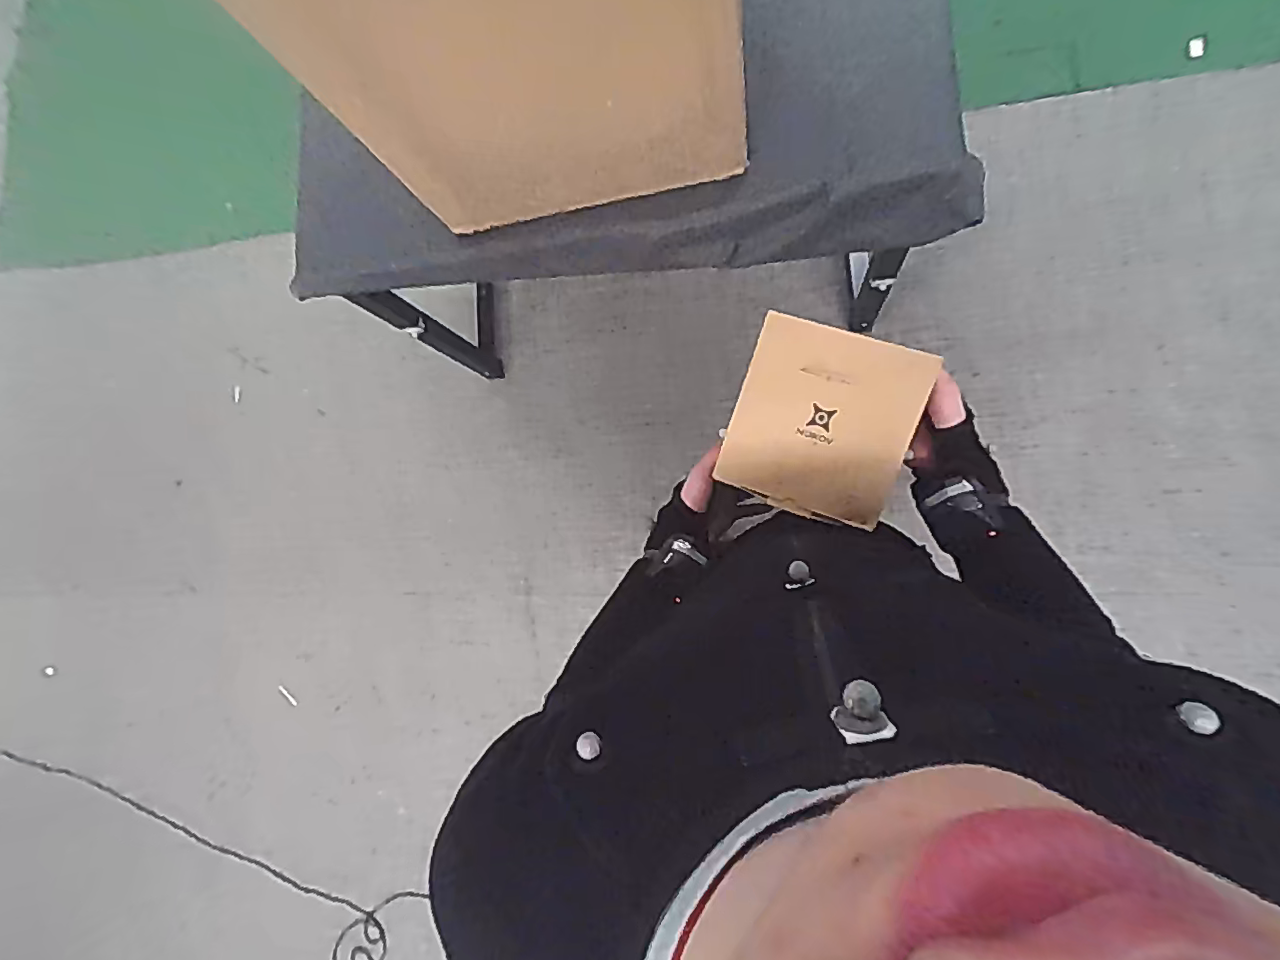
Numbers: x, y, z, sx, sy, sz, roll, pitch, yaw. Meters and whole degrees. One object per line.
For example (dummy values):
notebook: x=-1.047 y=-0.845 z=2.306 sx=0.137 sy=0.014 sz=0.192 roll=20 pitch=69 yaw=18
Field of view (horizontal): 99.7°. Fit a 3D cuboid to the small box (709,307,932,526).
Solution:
small box: x=0.189 y=-0.069 z=0.601 sx=0.168 sy=0.176 sz=0.179 roll=19 pitch=100 yaw=11
